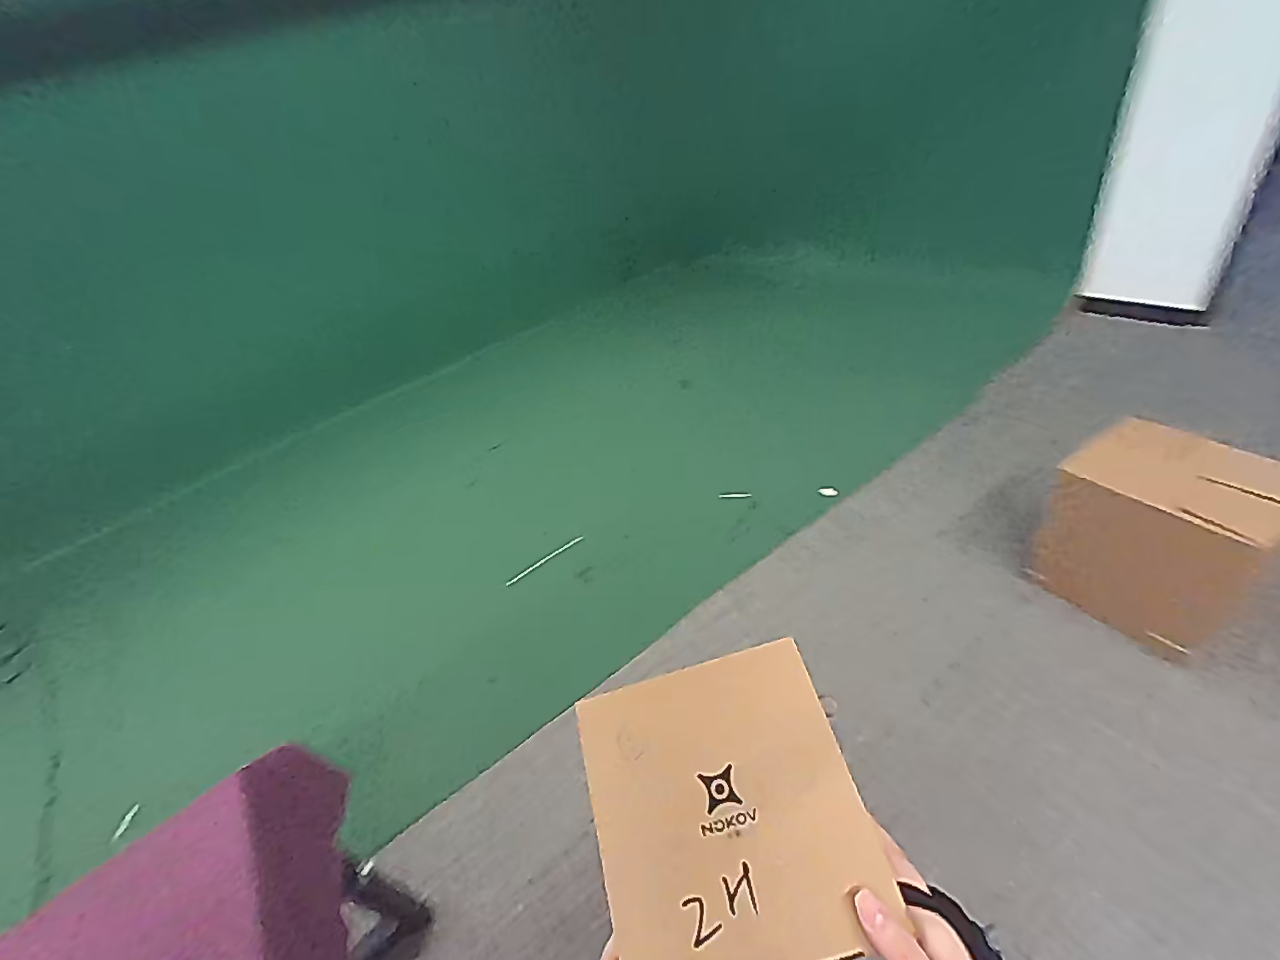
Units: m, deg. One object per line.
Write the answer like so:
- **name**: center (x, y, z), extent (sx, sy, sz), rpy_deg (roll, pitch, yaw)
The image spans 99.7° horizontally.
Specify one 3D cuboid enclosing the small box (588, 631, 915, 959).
- **small box**: center (0.070, 0.242, 0.412), extent (0.168, 0.176, 0.179), rpy_deg (-17, 56, 2)
